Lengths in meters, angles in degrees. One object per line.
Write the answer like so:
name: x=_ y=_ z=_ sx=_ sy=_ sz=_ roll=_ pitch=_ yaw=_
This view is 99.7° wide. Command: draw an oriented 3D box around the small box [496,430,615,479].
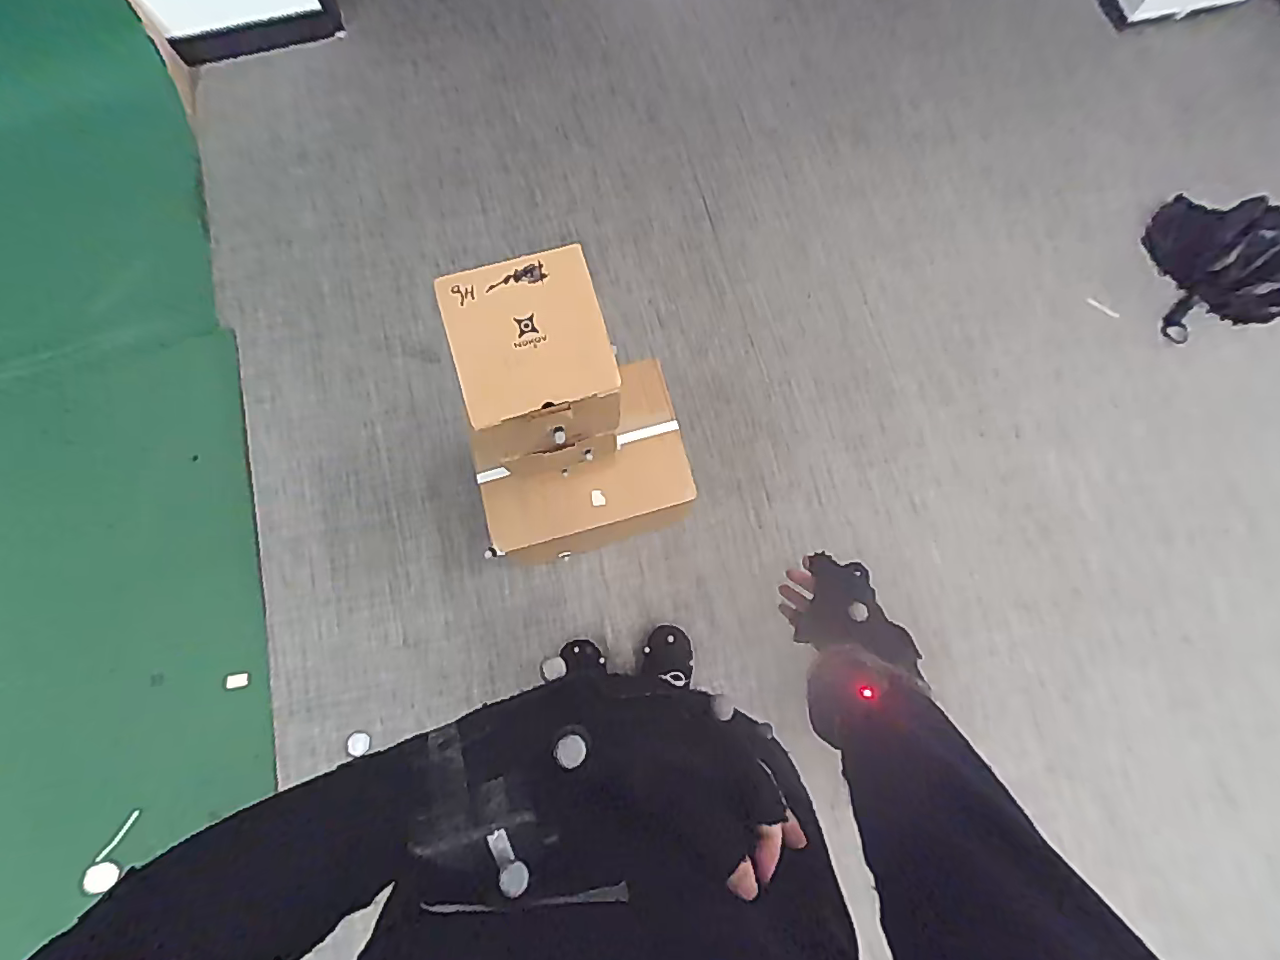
small box: x=-0.137 y=-0.107 z=0.824 sx=0.168 sy=0.176 sz=0.179 roll=-17 pitch=81 yaw=-6

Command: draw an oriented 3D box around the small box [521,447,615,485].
small box: x=-0.142 y=-0.093 z=0.983 sx=0.179 sy=0.176 sz=0.168 roll=-8 pitch=80 yaw=-3

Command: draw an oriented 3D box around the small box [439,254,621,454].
small box: x=-0.122 y=-0.138 z=0.664 sx=0.168 sy=0.176 sz=0.179 roll=-16 pitch=83 yaw=-5
